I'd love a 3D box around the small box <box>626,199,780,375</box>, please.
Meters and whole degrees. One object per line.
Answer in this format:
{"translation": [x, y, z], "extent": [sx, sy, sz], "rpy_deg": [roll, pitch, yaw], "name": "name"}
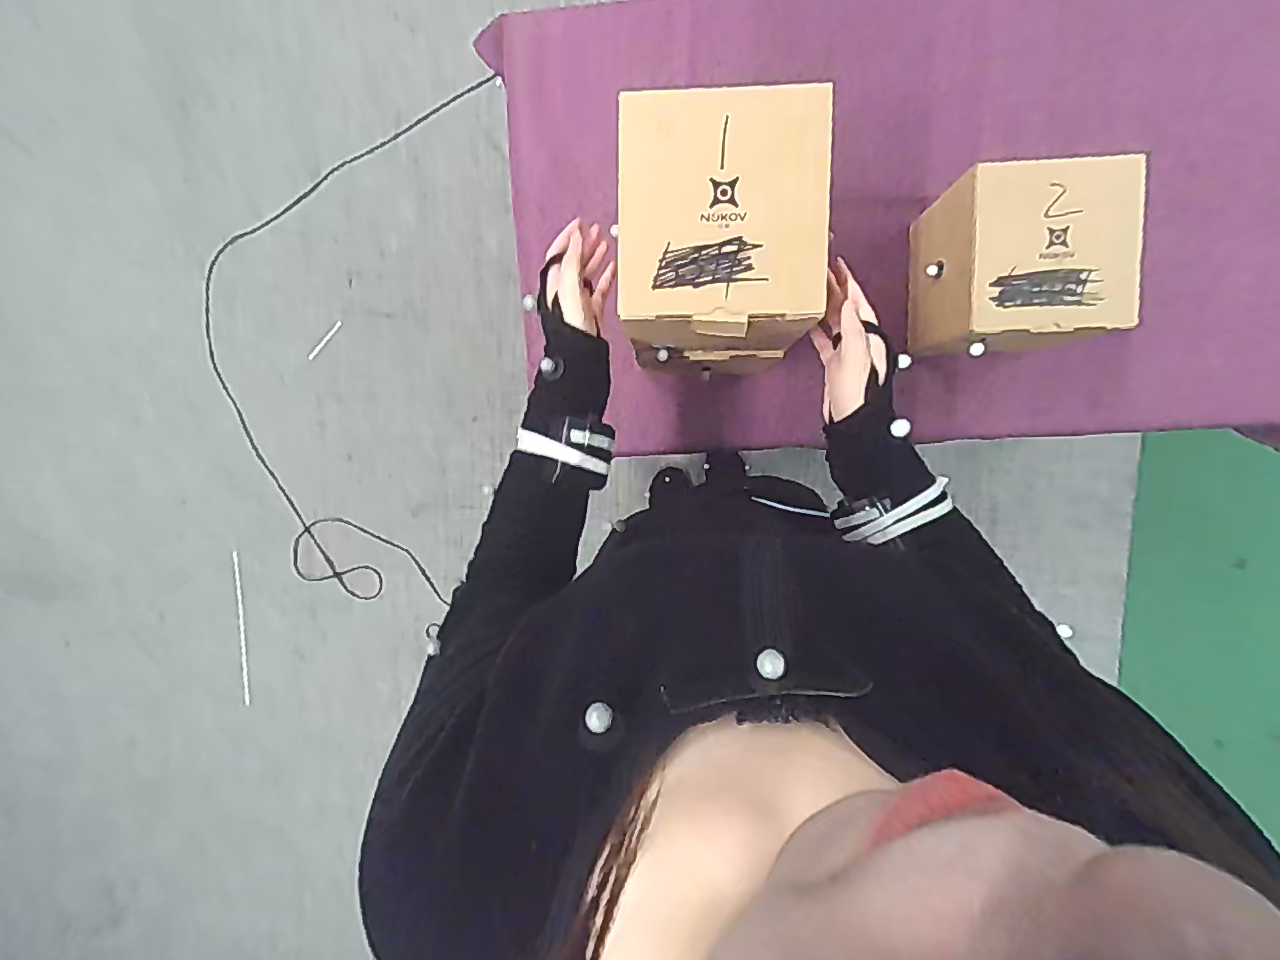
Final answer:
{"translation": [0.073, -0.224, 0.670], "extent": [0.168, 0.176, 0.179], "rpy_deg": [1, 96, 3], "name": "small box"}
